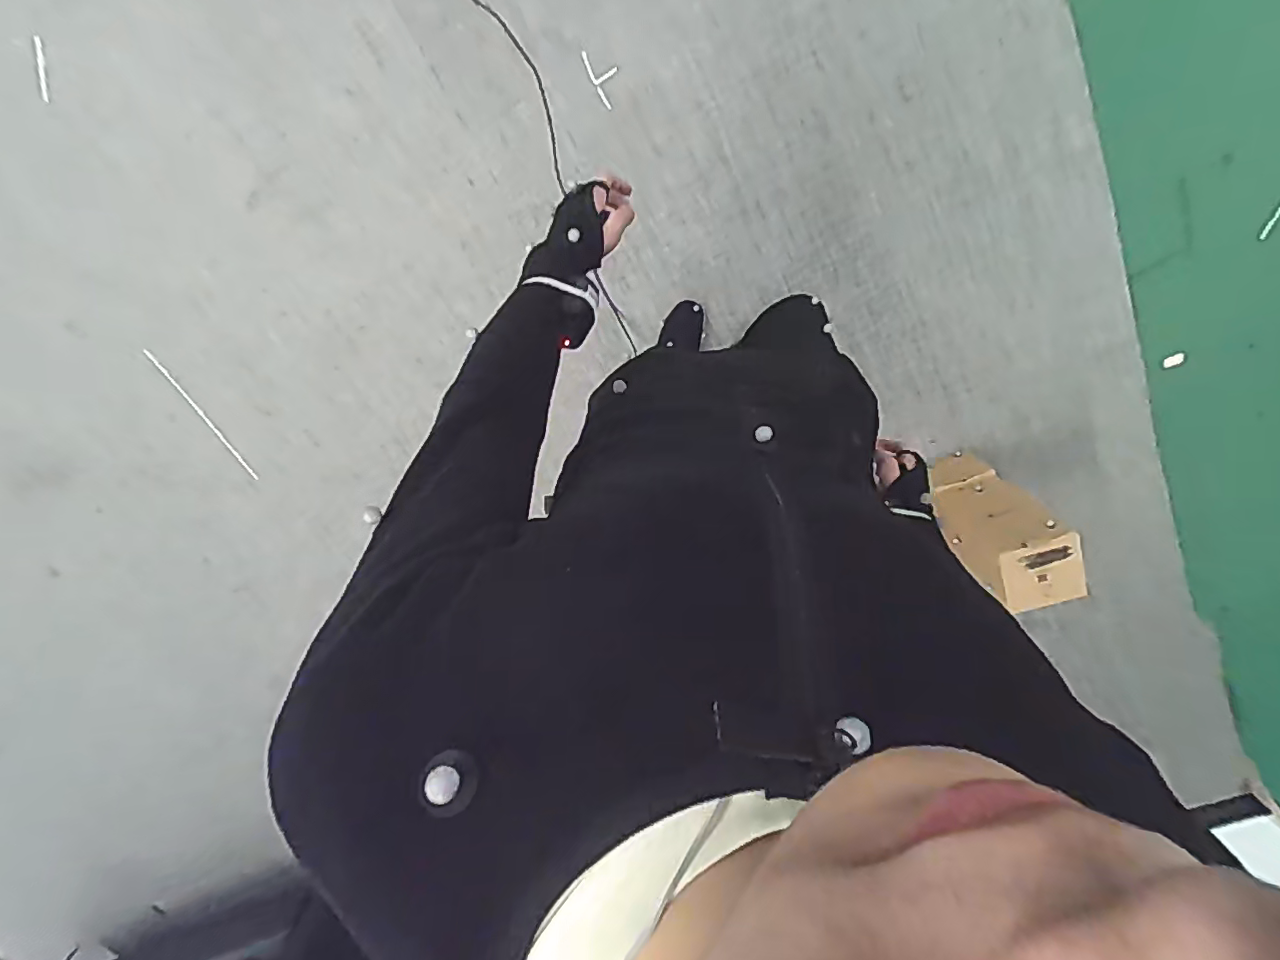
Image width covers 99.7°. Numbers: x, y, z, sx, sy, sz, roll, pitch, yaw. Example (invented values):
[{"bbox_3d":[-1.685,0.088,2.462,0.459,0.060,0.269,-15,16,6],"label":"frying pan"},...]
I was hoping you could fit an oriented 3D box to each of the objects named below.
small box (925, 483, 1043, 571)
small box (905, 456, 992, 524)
[{"bbox_3d":[0.899,0.117,1.430,0.179,0.176,0.168,9,110,-1],"label":"small box"},{"bbox_3d":[0.896,0.044,1.567,0.168,0.176,0.179,-20,111,11],"label":"small box"}]
